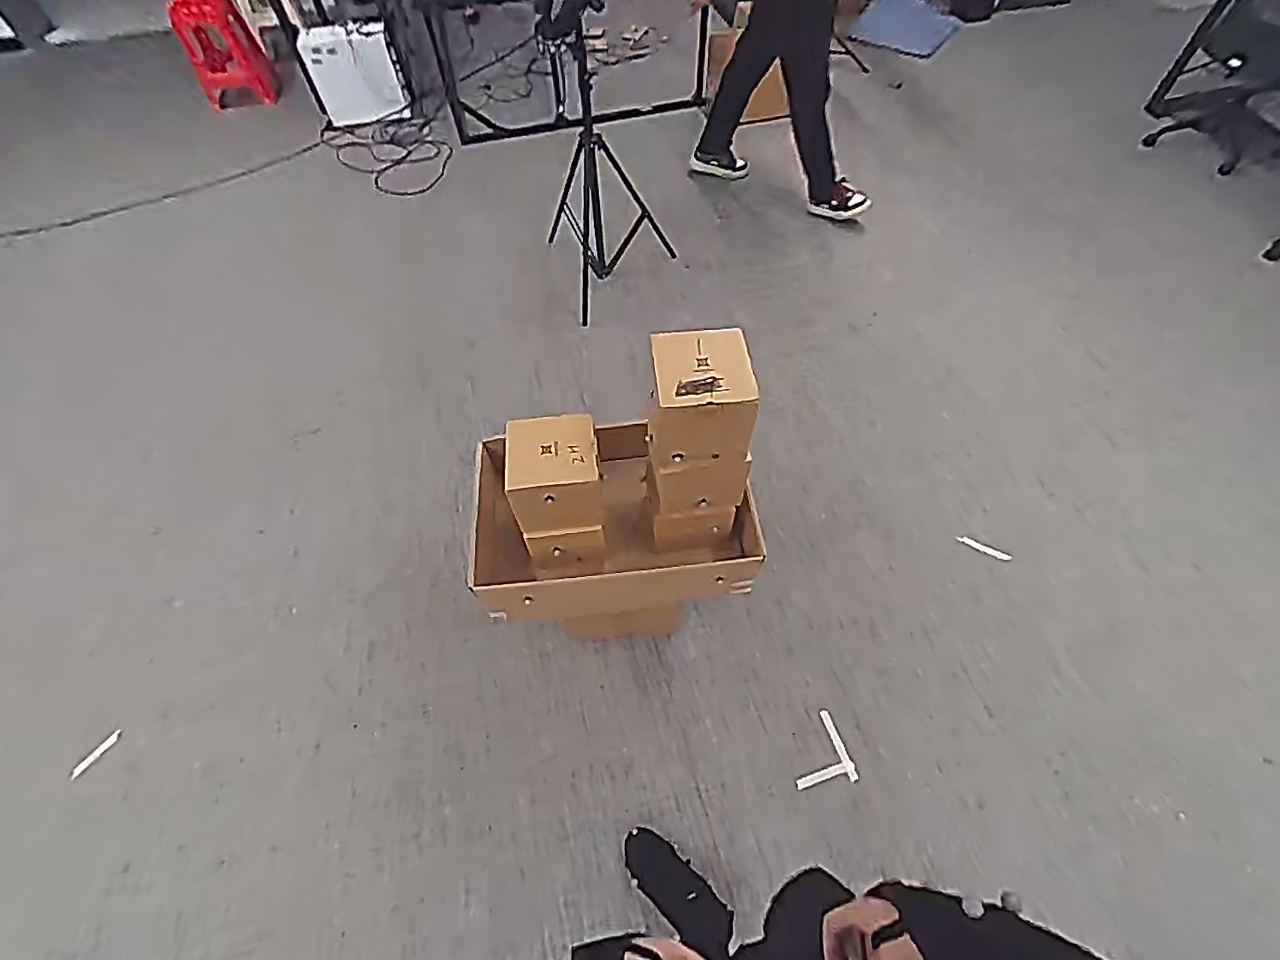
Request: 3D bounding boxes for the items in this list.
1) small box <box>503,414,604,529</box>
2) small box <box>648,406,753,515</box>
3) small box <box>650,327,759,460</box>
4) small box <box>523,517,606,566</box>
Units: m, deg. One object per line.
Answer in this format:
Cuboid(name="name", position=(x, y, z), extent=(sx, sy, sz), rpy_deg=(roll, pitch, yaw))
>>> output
Cuboid(name="small box", position=(-0.169, -0.012, 1.093), extent=(0.179, 0.176, 0.168), rpy_deg=(-5, 57, -3))
Cuboid(name="small box", position=(0.114, -0.045, 1.104), extent=(0.179, 0.176, 0.168), rpy_deg=(-7, 57, -4))
Cuboid(name="small box", position=(0.108, -0.147, 0.973), extent=(0.168, 0.176, 0.179), rpy_deg=(-4, 57, -1))
Cuboid(name="small box", position=(-0.169, 0.084, 1.227), extent=(0.168, 0.176, 0.179), rpy_deg=(-7, 57, -4))
